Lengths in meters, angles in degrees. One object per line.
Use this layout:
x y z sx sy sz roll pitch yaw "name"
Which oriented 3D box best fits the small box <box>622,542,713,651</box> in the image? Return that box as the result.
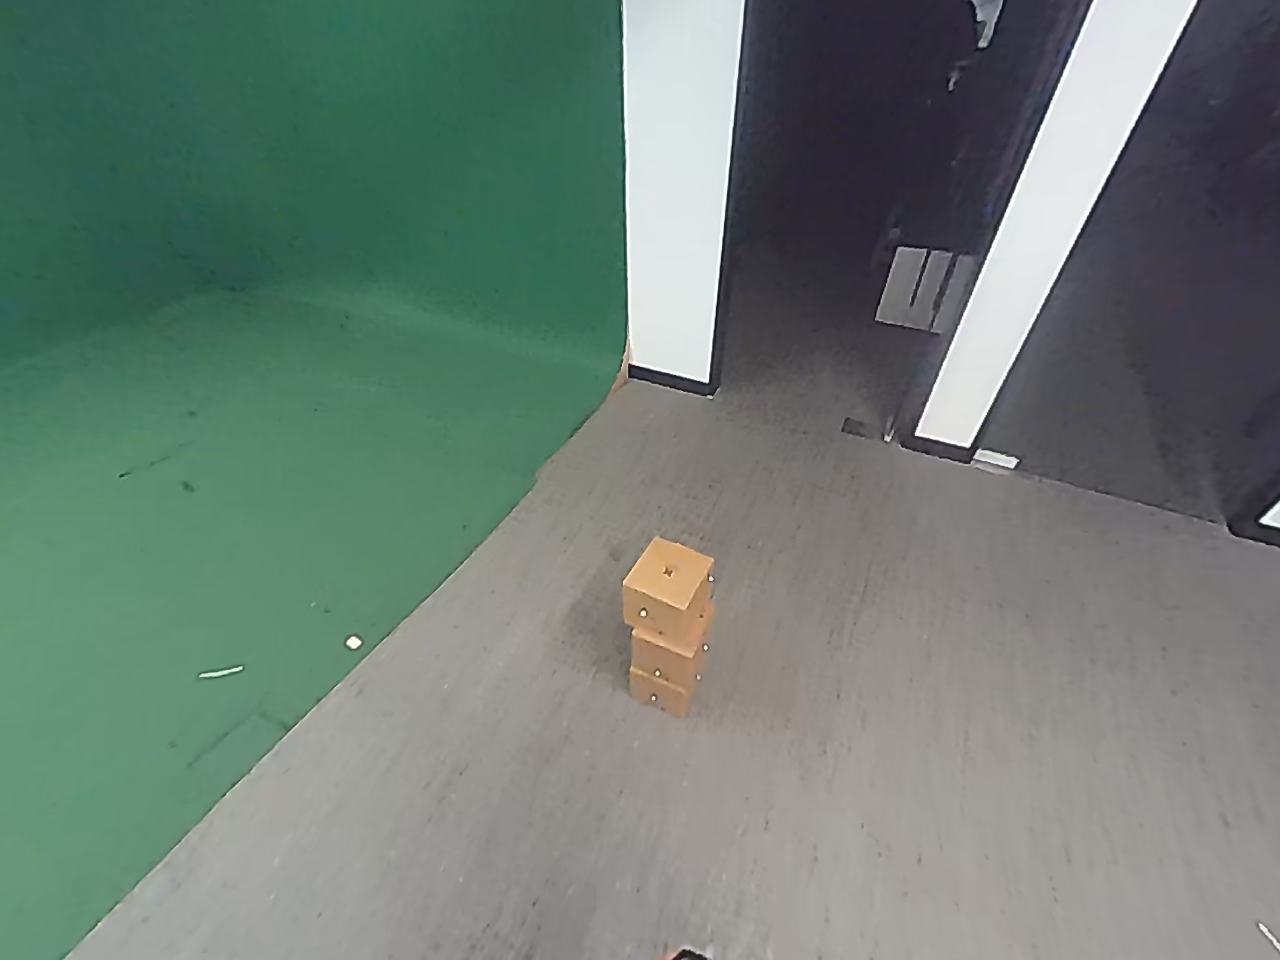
0.071 0.292 1.351 0.168 0.176 0.179 19 44 22 "small box"
